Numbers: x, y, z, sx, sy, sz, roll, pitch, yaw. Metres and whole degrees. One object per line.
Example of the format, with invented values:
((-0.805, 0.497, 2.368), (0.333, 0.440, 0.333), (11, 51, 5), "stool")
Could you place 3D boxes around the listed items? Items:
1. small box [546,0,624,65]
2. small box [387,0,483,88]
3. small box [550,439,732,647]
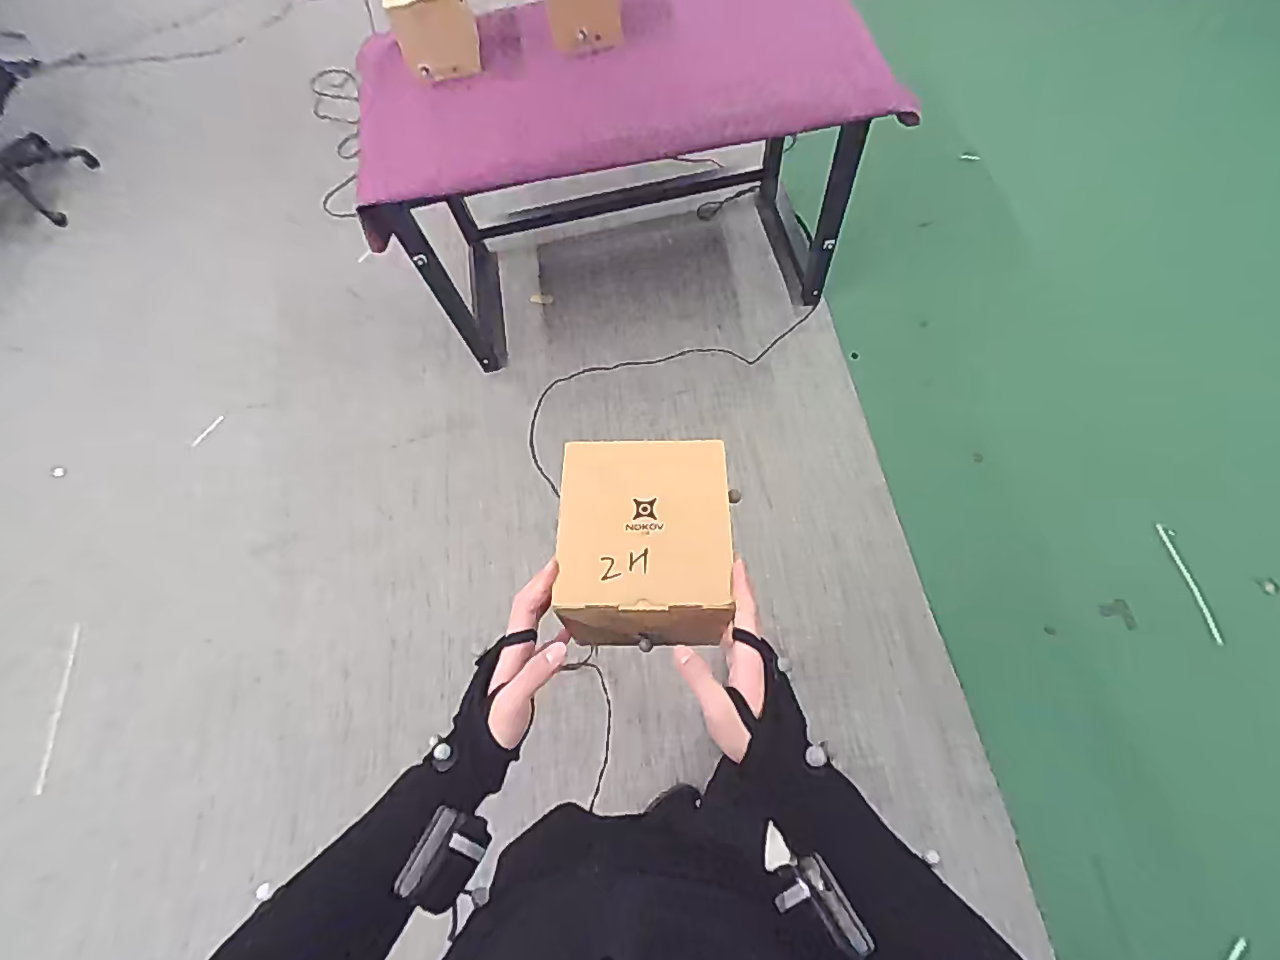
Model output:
((-0.138, -1.148, 1.300), (0.168, 0.176, 0.179), (-10, 67, 3), "small box")
((-0.491, -1.090, 1.313), (0.168, 0.176, 0.179), (-10, 66, 2), "small box")
((0.006, 0.072, 0.588), (0.168, 0.176, 0.179), (0, 61, 3), "small box")
